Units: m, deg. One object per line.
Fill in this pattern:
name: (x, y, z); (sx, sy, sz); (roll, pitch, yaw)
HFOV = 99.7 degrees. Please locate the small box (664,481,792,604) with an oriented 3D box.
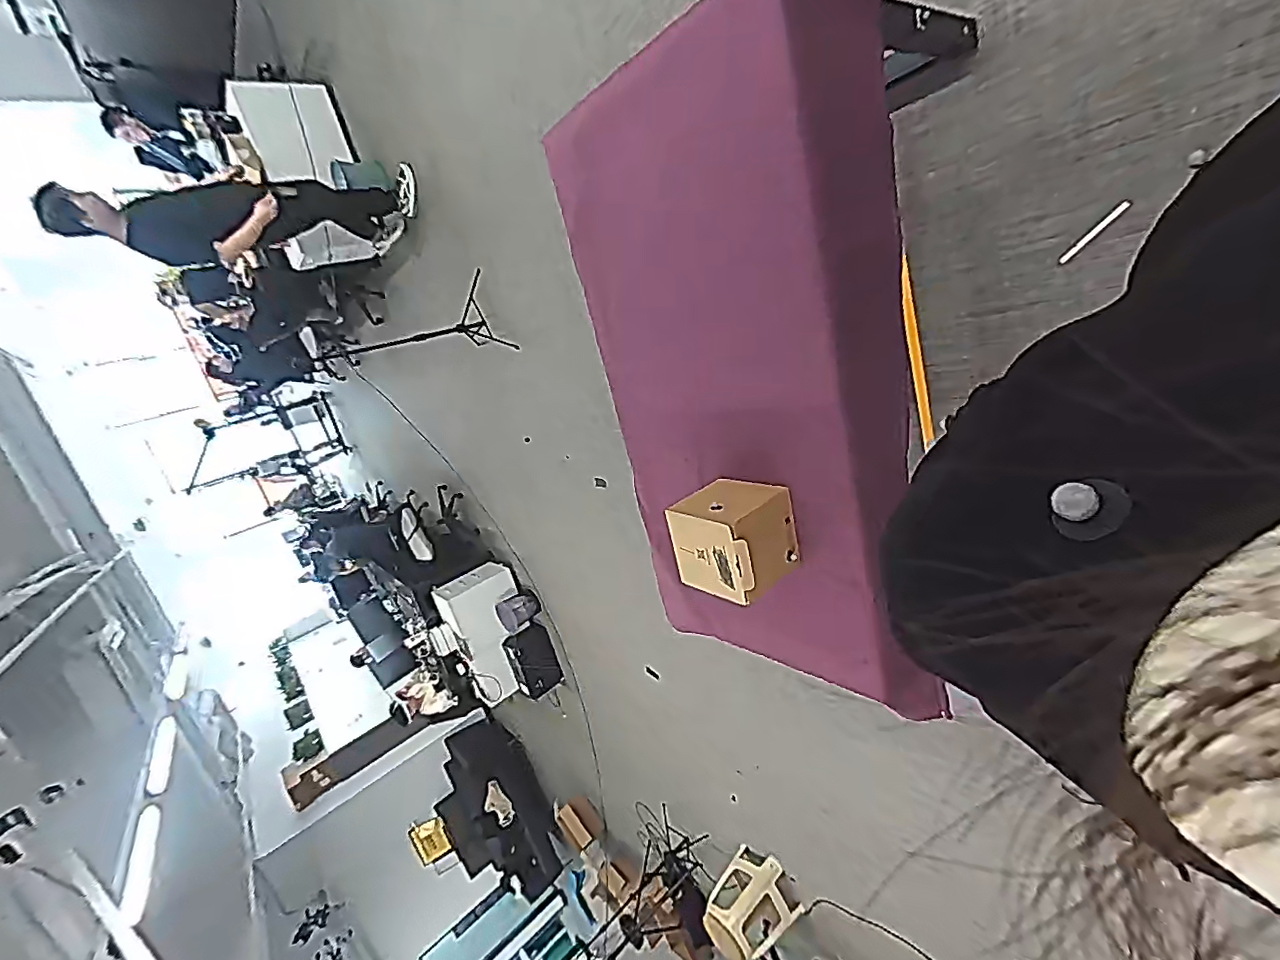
small box: (0.178, 0.110, 1.052); (0.179, 0.176, 0.168); (10, 119, 51)
